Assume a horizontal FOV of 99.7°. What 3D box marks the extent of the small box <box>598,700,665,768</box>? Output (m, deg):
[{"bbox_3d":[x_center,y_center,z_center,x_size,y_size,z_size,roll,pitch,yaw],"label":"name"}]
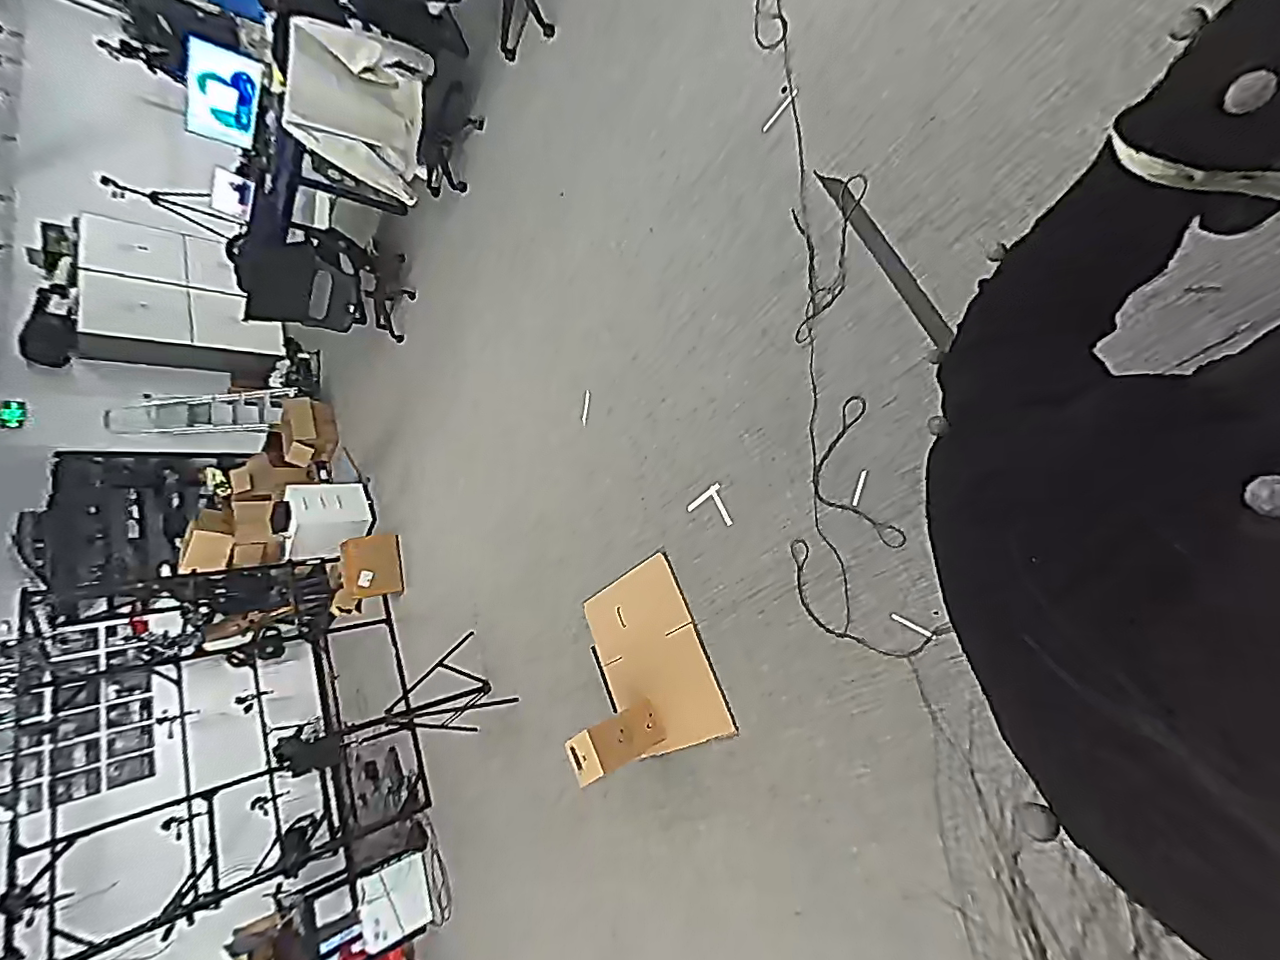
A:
[{"bbox_3d":[-0.033,1.006,2.147,0.179,0.176,0.168,-51,58,35],"label":"small box"}]
